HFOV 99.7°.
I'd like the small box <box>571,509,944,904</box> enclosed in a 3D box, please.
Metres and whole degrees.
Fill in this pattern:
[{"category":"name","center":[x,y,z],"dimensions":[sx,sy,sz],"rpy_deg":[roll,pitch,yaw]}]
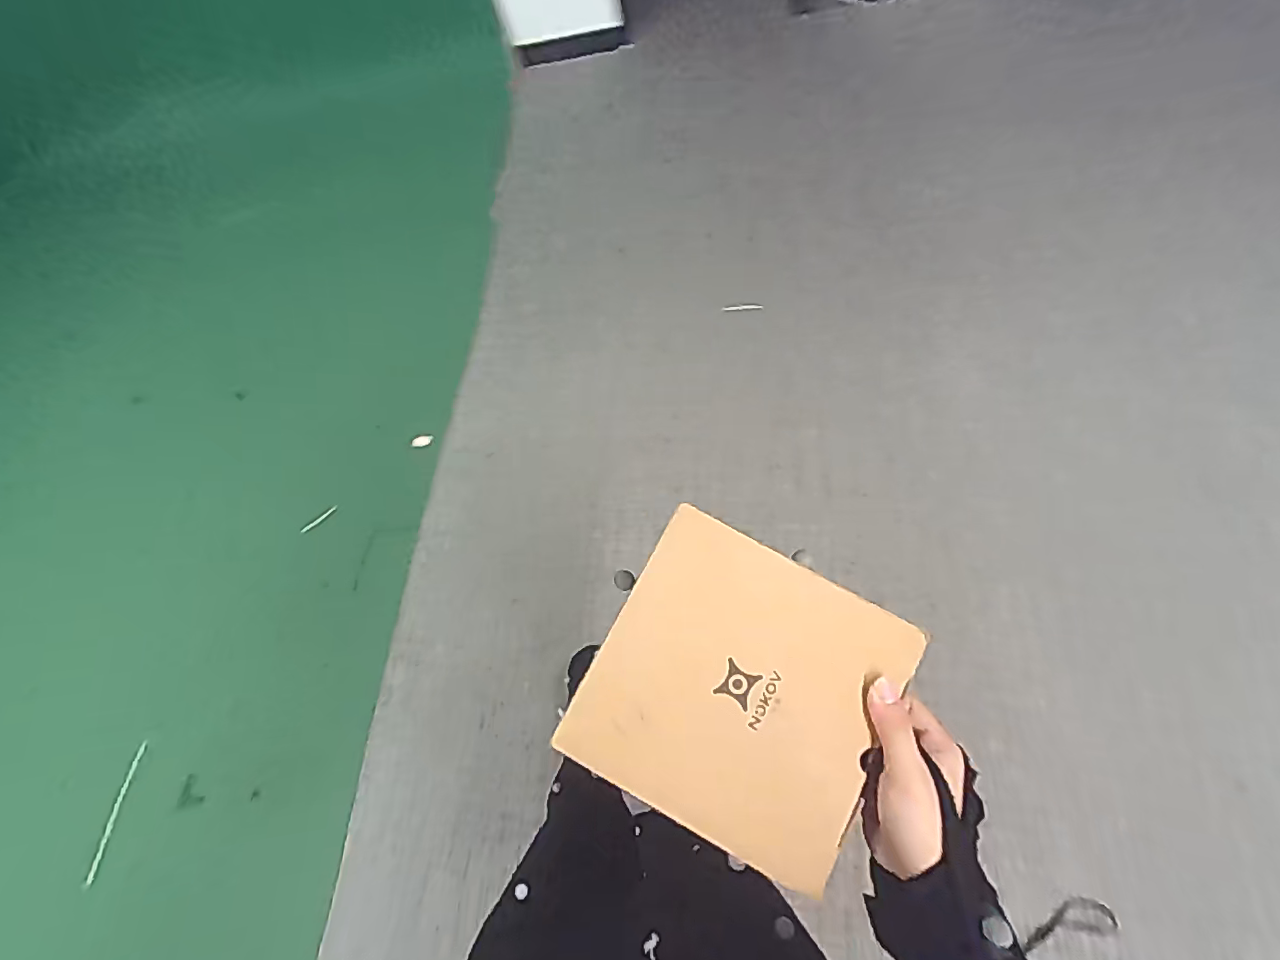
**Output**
[{"category":"small box","center":[0.071,0.145,0.400],"dimensions":[0.179,0.176,0.168],"rpy_deg":[30,79,5]}]
